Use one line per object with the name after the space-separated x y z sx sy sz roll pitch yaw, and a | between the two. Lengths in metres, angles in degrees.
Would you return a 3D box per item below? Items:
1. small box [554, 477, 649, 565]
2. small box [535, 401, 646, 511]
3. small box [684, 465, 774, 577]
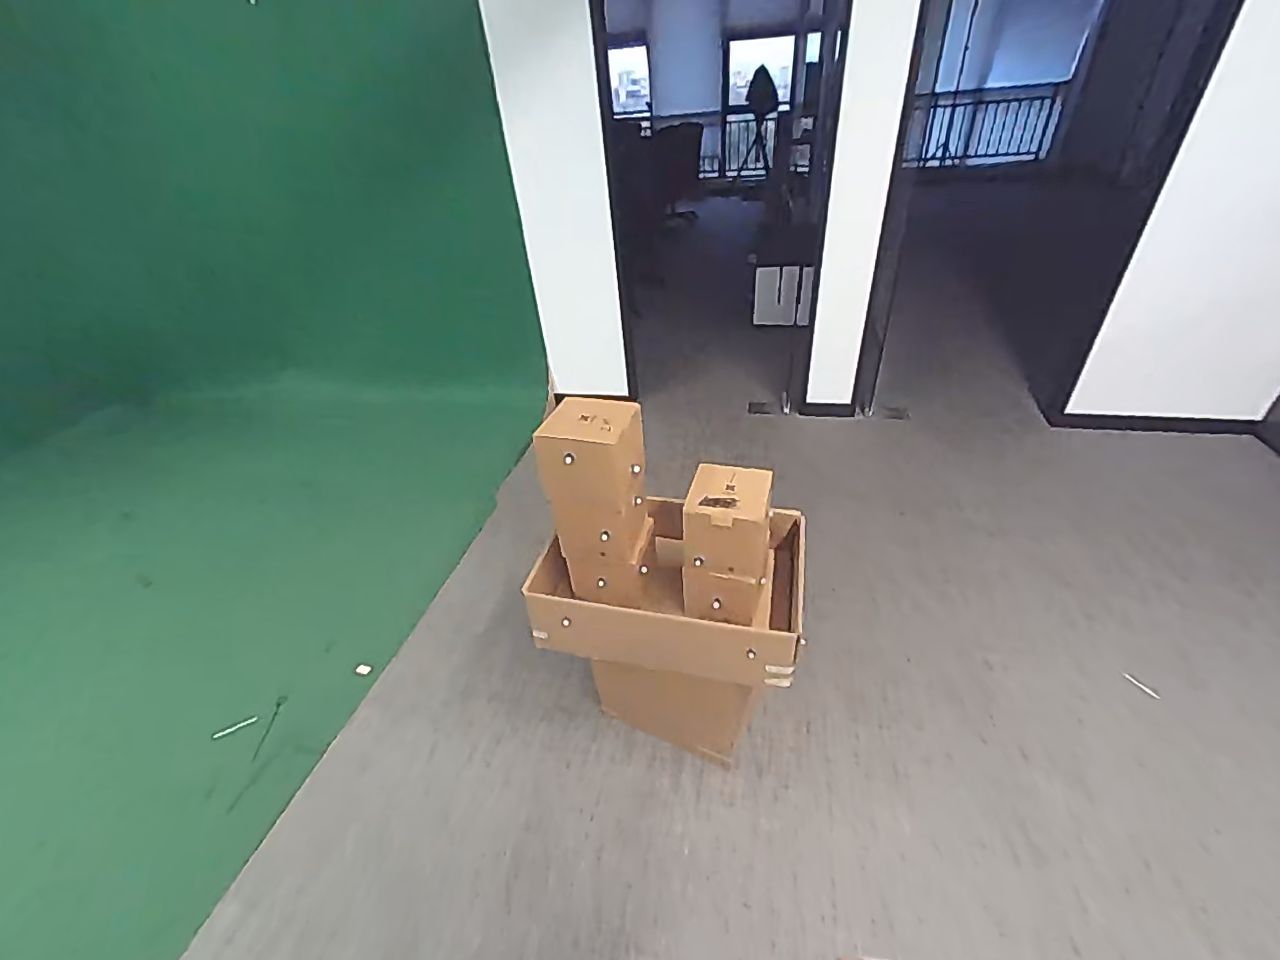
-0.079 0.075 1.256 0.168 0.176 0.179 6 37 15 | small box
-0.096 -0.053 1.154 0.179 0.176 0.168 8 39 17 | small box
0.200 0.090 1.191 0.168 0.176 0.179 6 37 17 | small box
